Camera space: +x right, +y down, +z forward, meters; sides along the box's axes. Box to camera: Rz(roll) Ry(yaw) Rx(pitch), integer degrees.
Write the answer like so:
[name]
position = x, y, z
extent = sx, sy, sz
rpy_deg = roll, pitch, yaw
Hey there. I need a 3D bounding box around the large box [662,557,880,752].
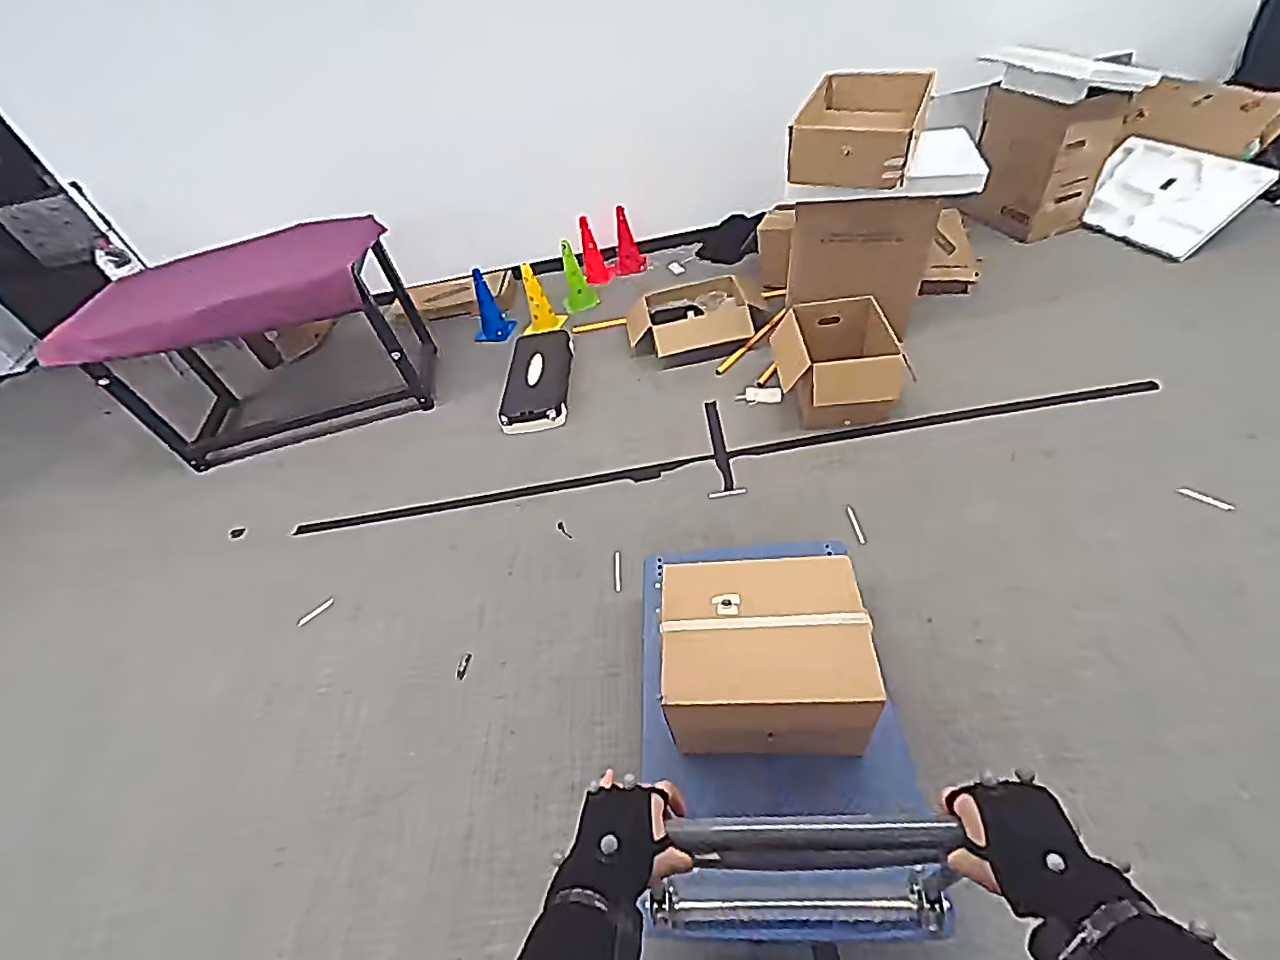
[large box]
position = 0.270, 0.397, 1.207
extent = 0.408, 0.320, 0.320
rpy_deg = -5, 46, 9
